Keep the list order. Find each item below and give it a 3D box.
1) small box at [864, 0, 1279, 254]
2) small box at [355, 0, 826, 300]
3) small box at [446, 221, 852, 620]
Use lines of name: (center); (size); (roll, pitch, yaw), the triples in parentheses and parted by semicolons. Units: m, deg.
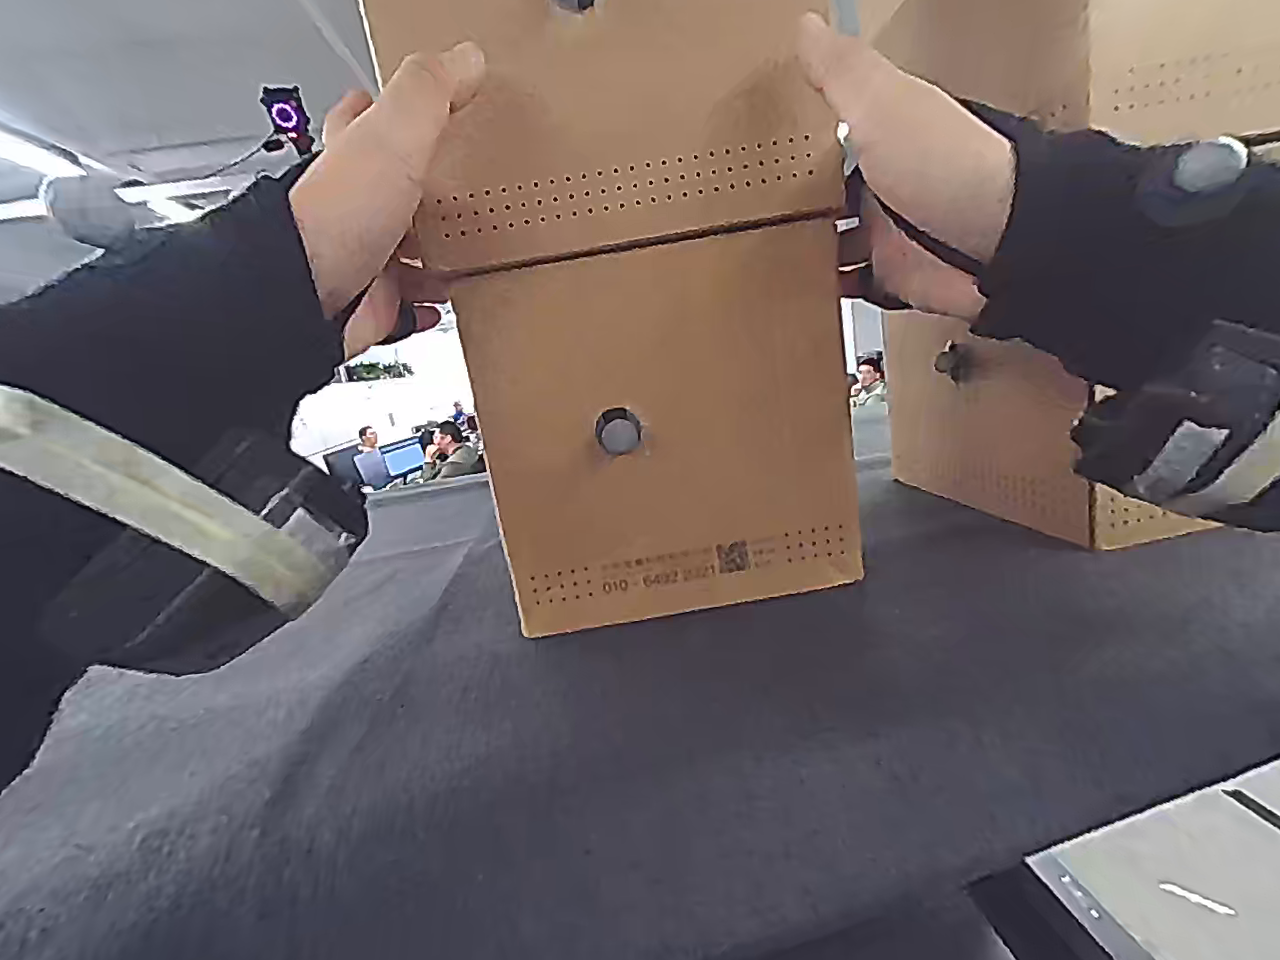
small box: (0.239, -0.229, 0.280); (0.179, 0.176, 0.168); (-11, 10, -3)
small box: (-0.018, -0.186, 0.277); (0.179, 0.176, 0.168); (-12, 11, 0)
small box: (0.009, -0.029, 0.320); (0.168, 0.176, 0.179); (-10, 11, -1)
